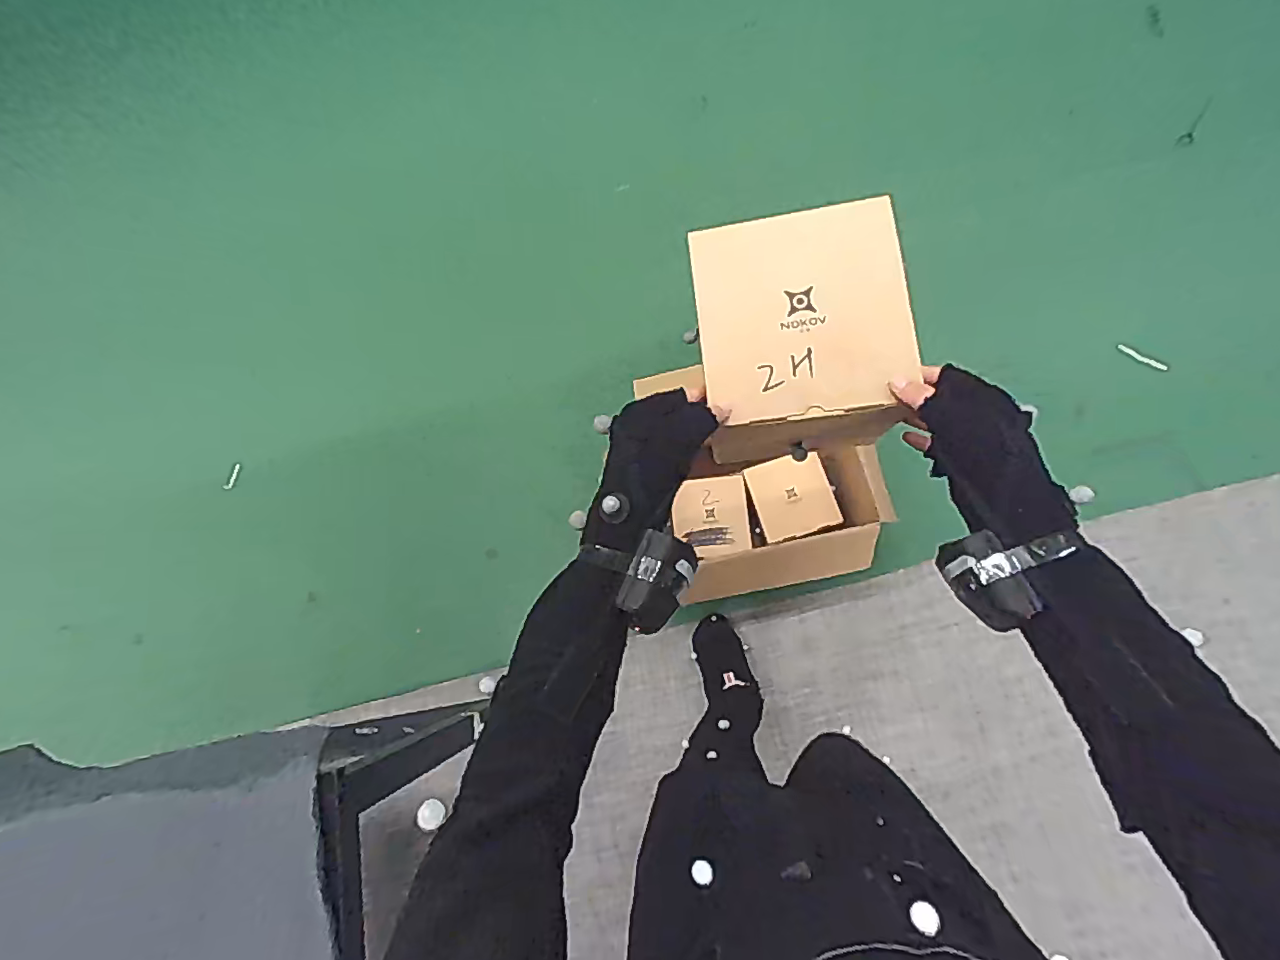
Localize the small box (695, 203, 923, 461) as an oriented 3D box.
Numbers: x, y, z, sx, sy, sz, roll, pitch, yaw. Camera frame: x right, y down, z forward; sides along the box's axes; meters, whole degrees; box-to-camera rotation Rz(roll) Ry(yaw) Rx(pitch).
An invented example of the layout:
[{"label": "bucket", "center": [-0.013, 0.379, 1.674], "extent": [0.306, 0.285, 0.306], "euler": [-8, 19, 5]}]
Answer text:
[{"label": "small box", "center": [0.144, -0.124, 0.517], "extent": [0.168, 0.176, 0.179], "euler": [-6, 82, 9]}]
